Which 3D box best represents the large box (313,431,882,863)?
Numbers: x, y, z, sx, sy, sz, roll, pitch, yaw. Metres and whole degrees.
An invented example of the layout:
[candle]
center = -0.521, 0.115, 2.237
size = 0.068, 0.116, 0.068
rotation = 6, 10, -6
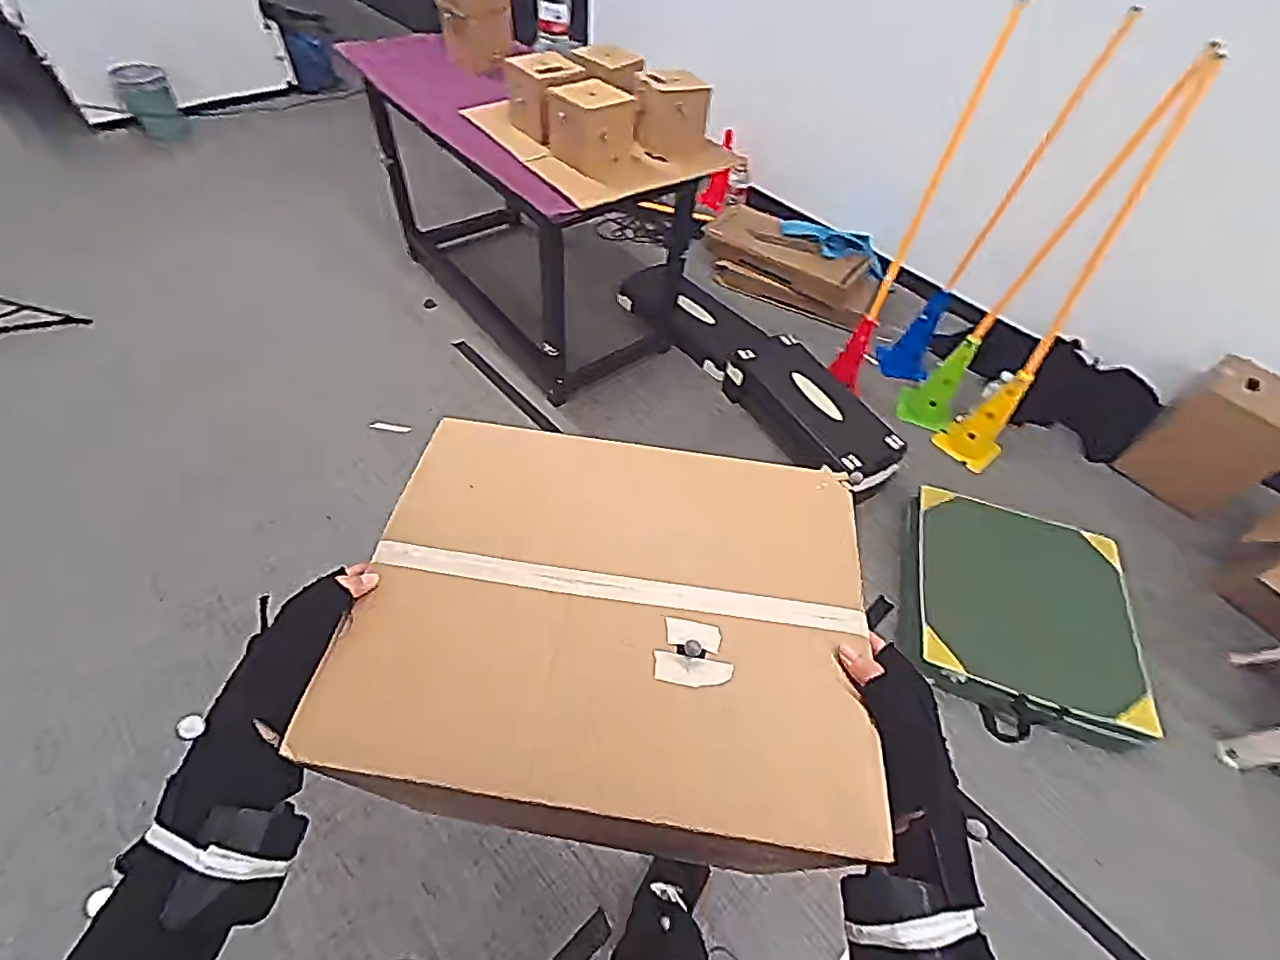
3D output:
[large box]
center = -0.023, 0.185, 0.573
size = 0.408, 0.320, 0.320
rotation = 9, 54, 3
